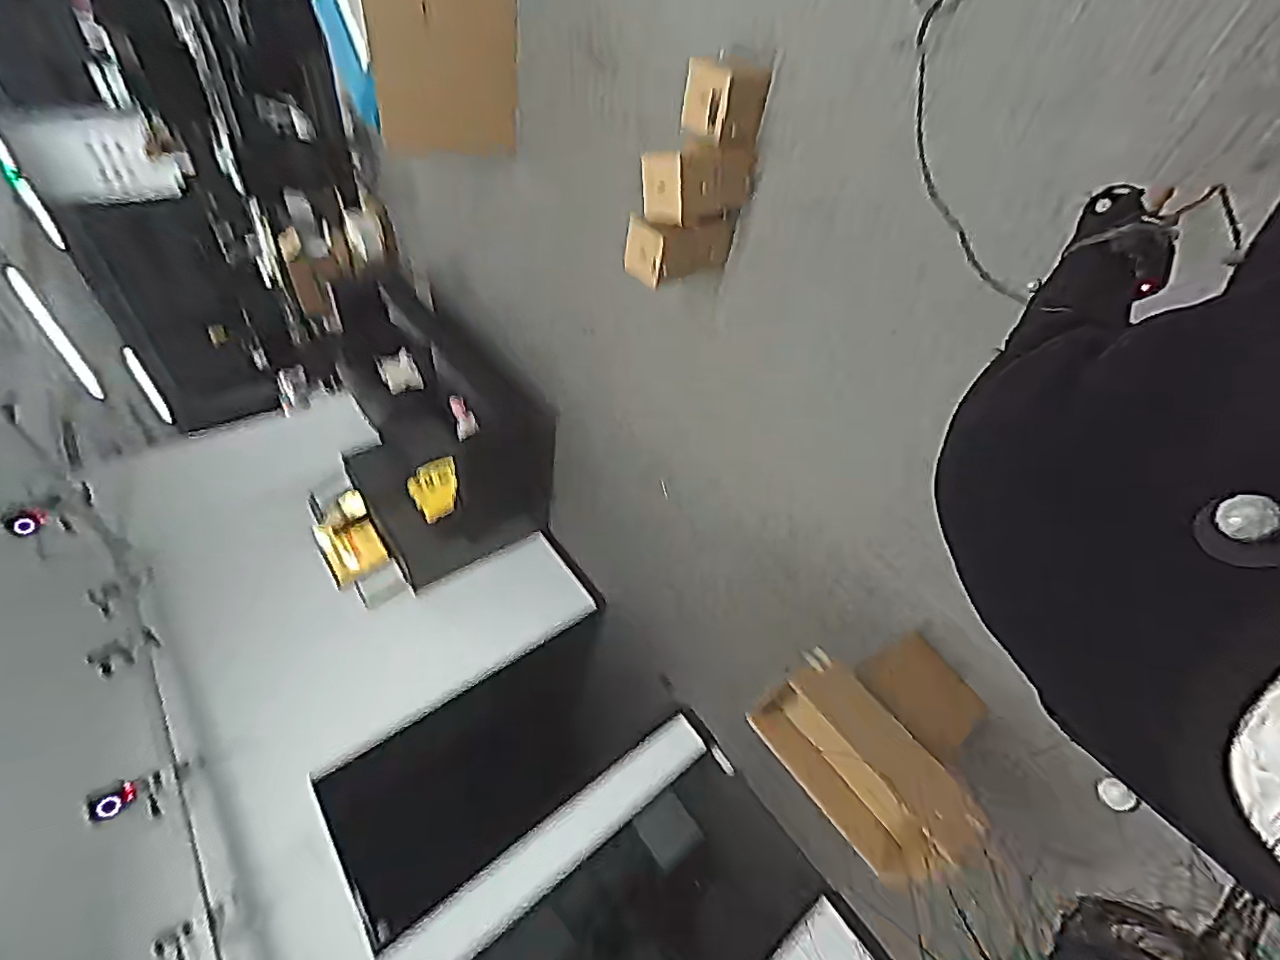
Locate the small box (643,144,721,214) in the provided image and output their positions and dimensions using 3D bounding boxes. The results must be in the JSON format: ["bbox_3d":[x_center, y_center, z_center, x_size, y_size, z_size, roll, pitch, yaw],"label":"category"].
[{"bbox_3d":[0.130,-0.912,1.632,0.179,0.176,0.168,33,139,42],"label":"small box"}]

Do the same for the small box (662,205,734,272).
[{"bbox_3d":[0.205,-0.856,1.881,0.168,0.176,0.179,46,146,28],"label":"small box"}]
